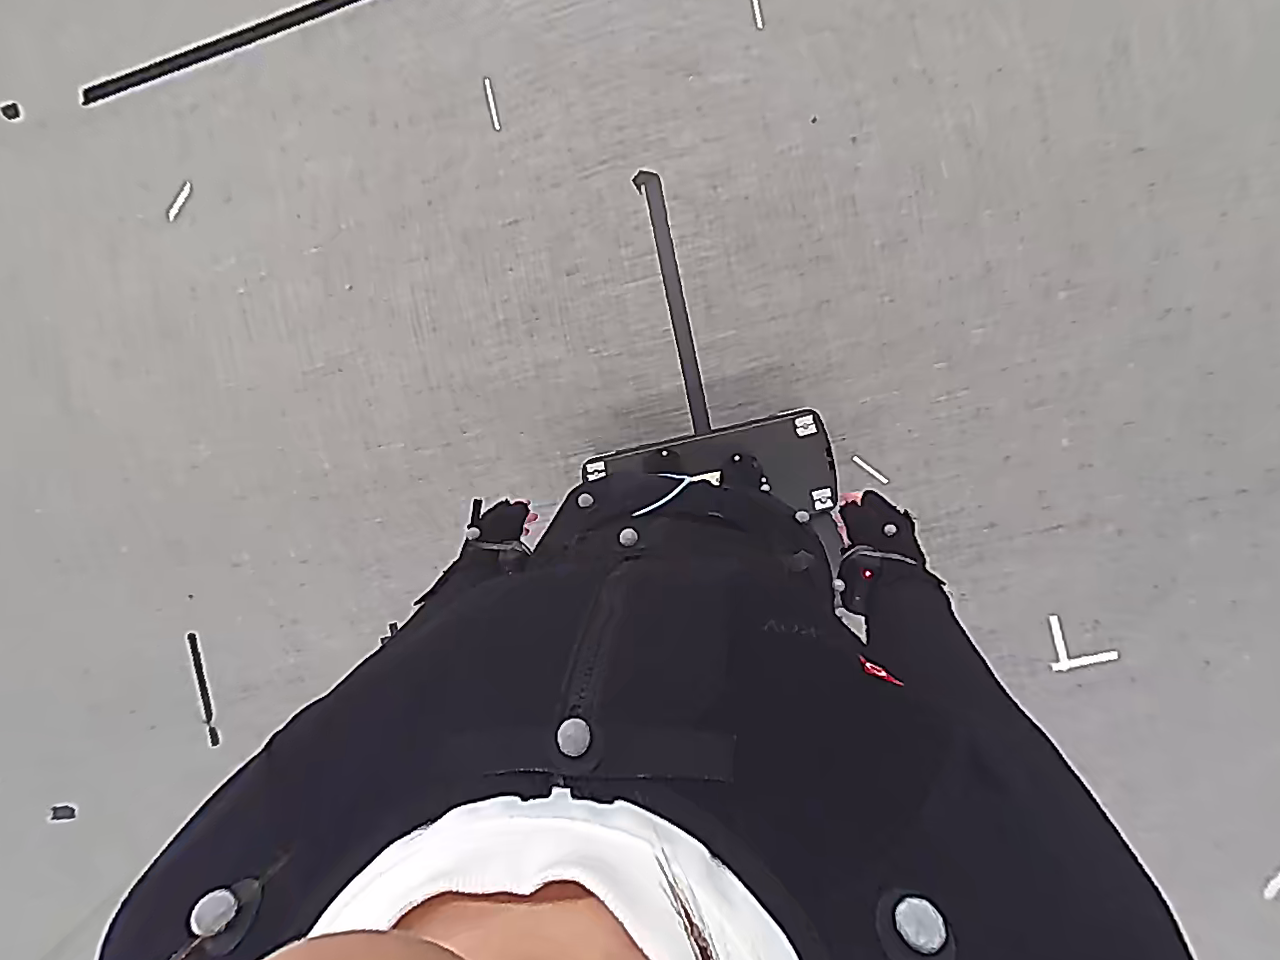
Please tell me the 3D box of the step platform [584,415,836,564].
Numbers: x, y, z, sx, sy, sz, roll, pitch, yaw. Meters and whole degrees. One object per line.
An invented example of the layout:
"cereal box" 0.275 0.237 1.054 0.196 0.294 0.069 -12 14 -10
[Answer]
"step platform" 0.187 0.027 1.524 0.684 0.204 0.286 -14 93 7
